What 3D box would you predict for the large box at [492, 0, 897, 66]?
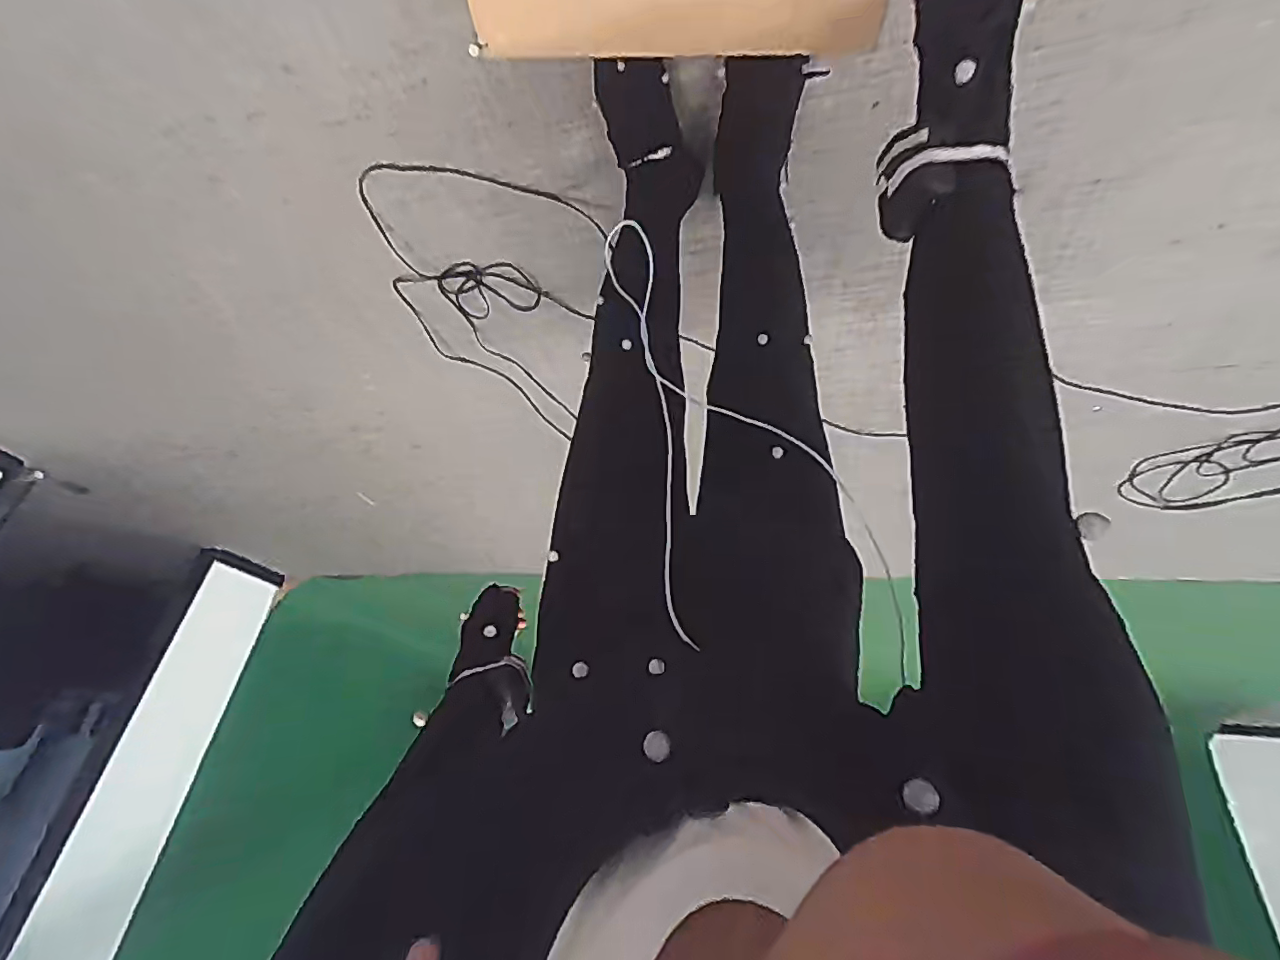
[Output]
[{"bbox_3d":[0.058,-0.649,0.510,0.408,0.320,0.320,5,151,8],"label":"large box"}]
